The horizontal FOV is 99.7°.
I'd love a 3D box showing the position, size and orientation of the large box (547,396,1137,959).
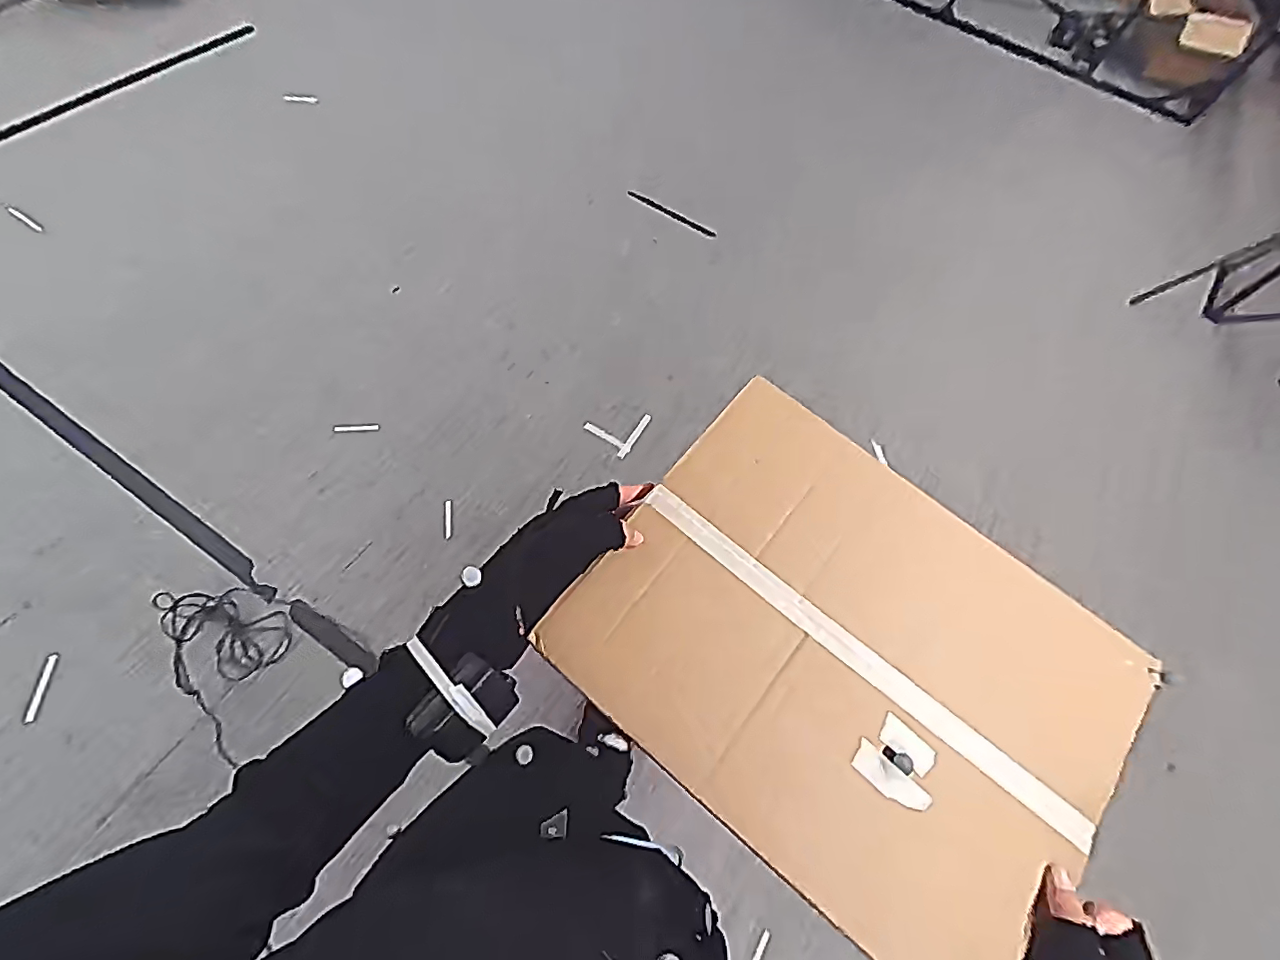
[{"bbox_3d":[0.159,0.193,0.578,0.408,0.320,0.320,39,73,10],"label":"large box"}]
